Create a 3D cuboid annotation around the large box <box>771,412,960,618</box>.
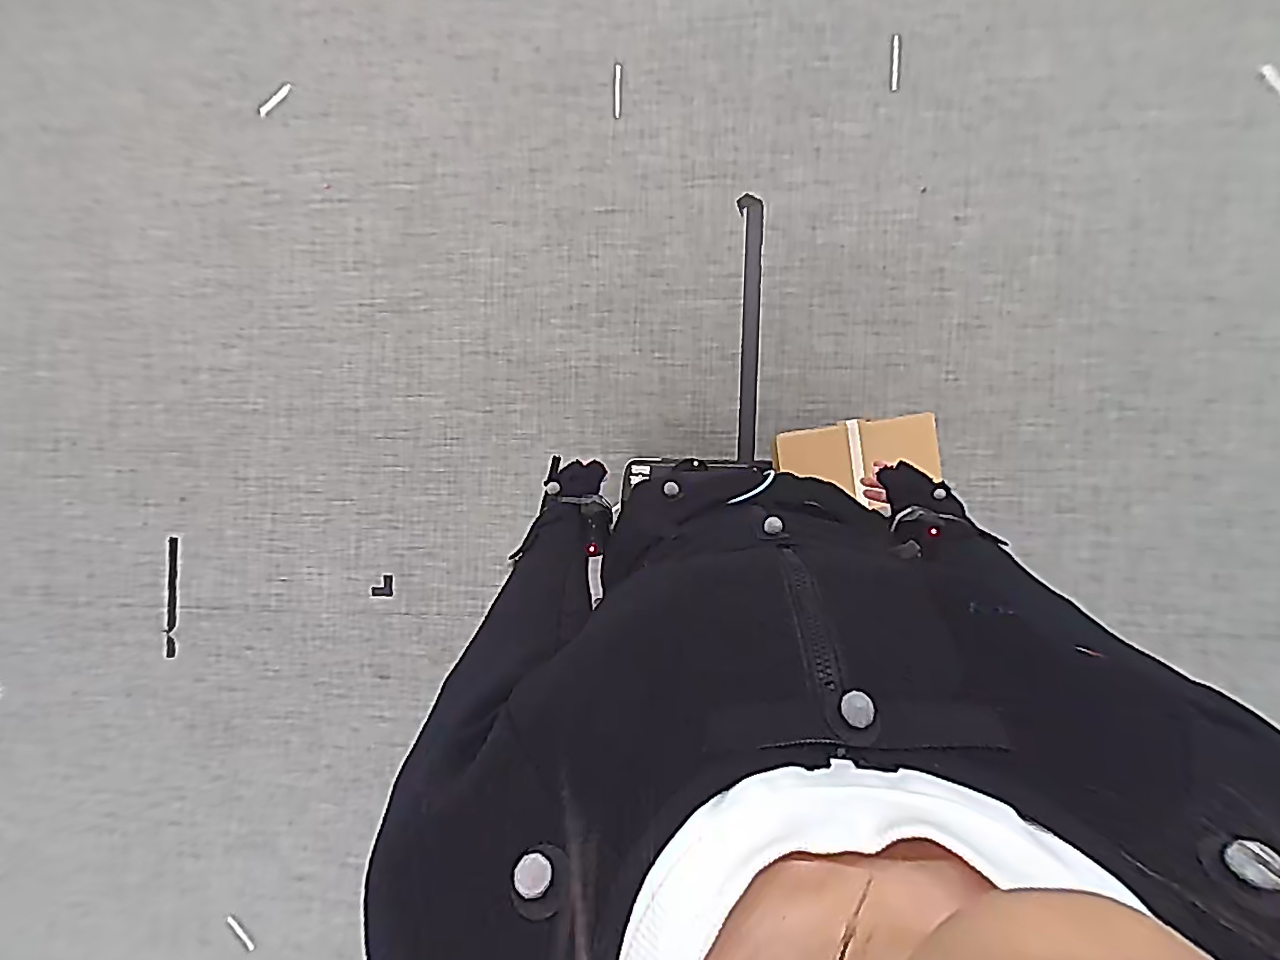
[{"bbox_3d":[0.498,0.070,1.264,0.320,0.320,0.408,-8,92,12],"label":"large box"}]
